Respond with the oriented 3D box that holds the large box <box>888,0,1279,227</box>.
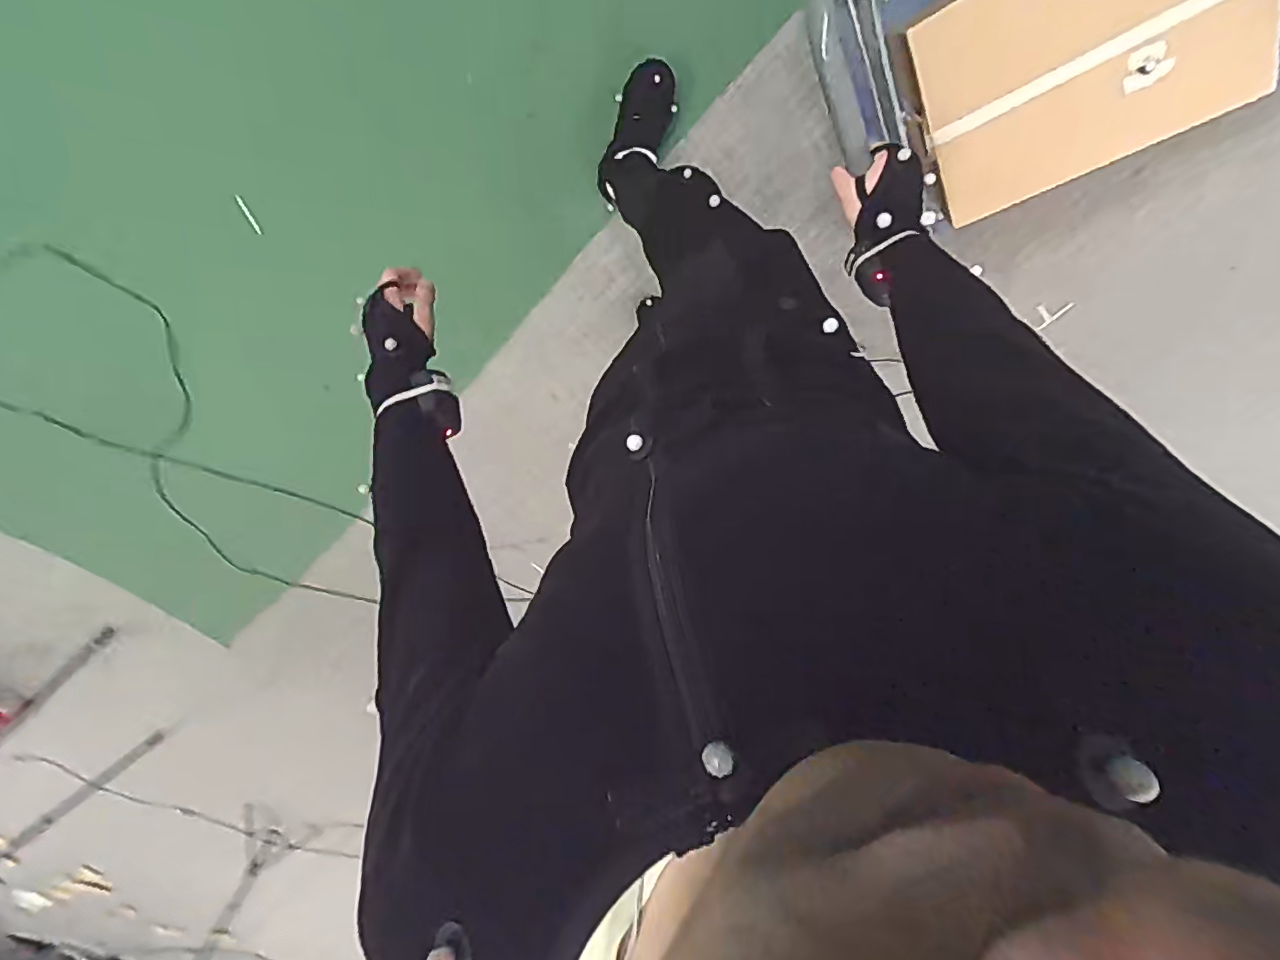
[{"bbox_3d":[0.674,-0.689,0.887,0.408,0.320,0.320,-17,121,28],"label":"large box"}]
